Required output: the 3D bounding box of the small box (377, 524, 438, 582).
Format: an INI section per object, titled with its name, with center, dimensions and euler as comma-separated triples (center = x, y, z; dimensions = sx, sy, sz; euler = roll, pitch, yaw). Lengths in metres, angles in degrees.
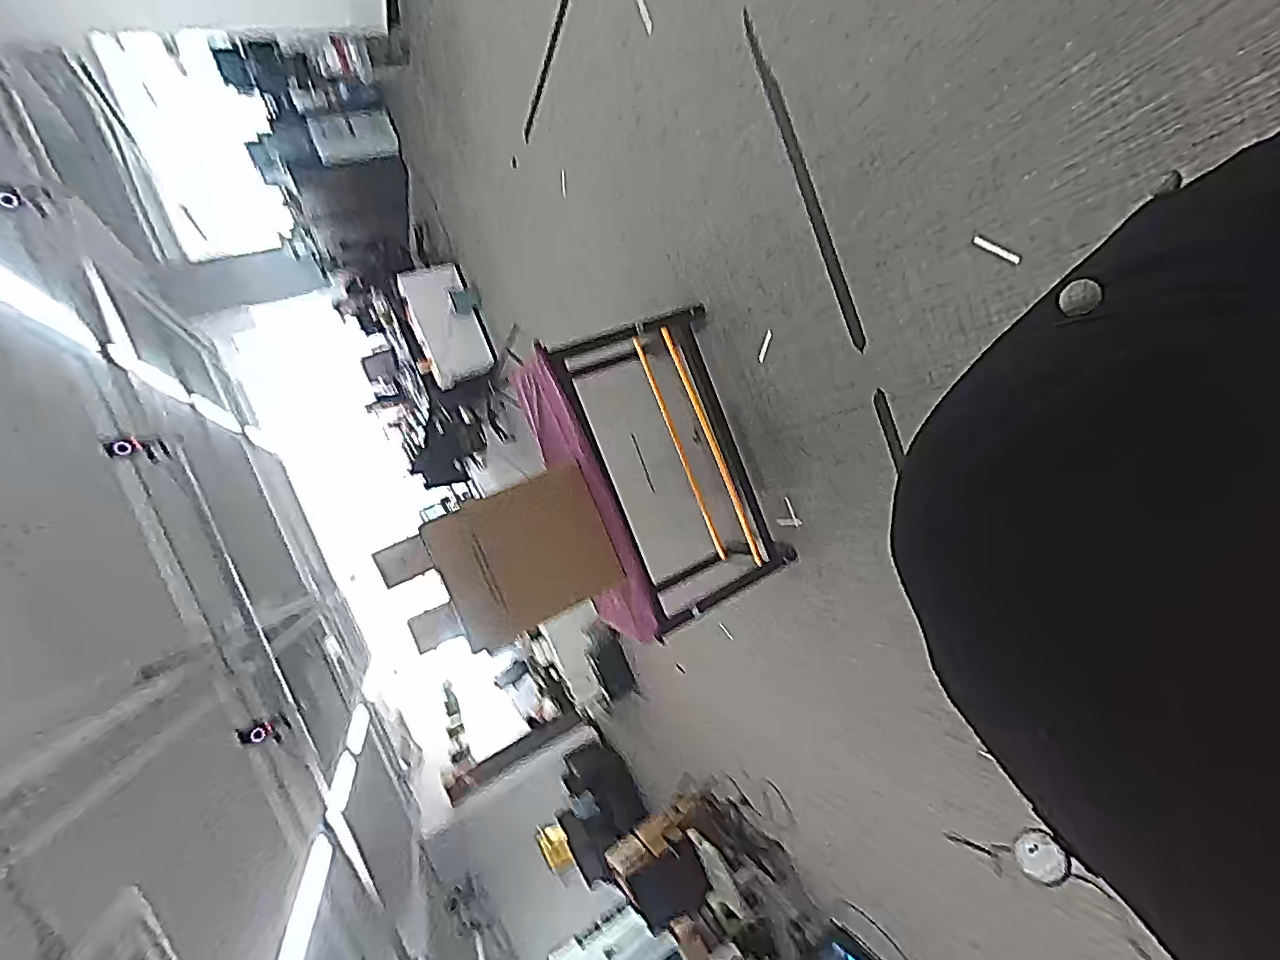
[small box]
center = -0.900, 0.279, 2.101
dimensions = 0.179, 0.176, 0.168
euler = -11, 103, 67
